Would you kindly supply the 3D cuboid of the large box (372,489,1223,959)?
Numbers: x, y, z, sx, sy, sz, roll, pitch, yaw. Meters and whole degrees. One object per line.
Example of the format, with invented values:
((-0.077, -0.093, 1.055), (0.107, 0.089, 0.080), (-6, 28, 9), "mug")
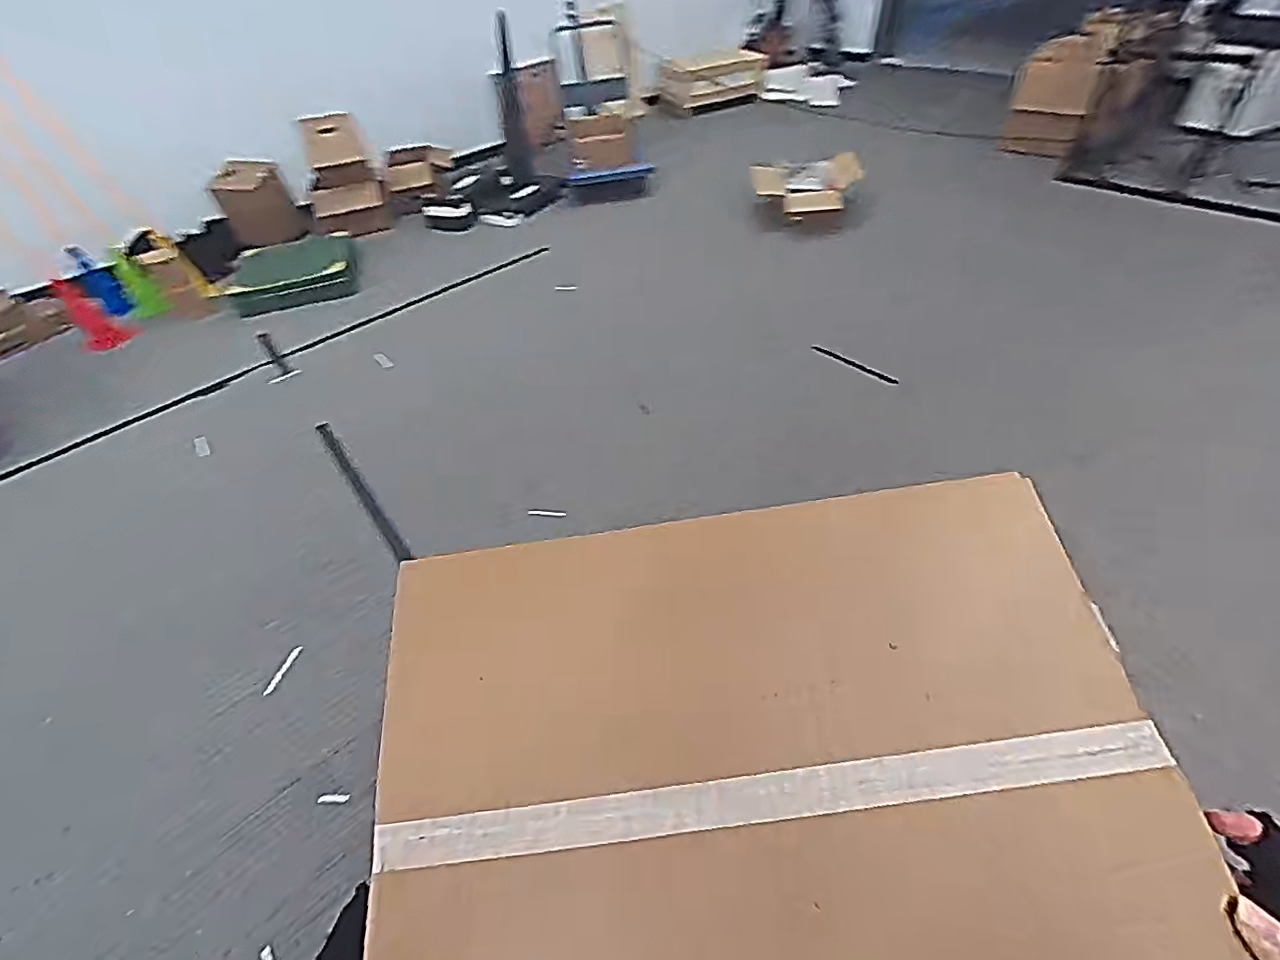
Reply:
((0.071, 0.239, 0.419), (0.408, 0.320, 0.320), (-10, 62, 1), "large box")
